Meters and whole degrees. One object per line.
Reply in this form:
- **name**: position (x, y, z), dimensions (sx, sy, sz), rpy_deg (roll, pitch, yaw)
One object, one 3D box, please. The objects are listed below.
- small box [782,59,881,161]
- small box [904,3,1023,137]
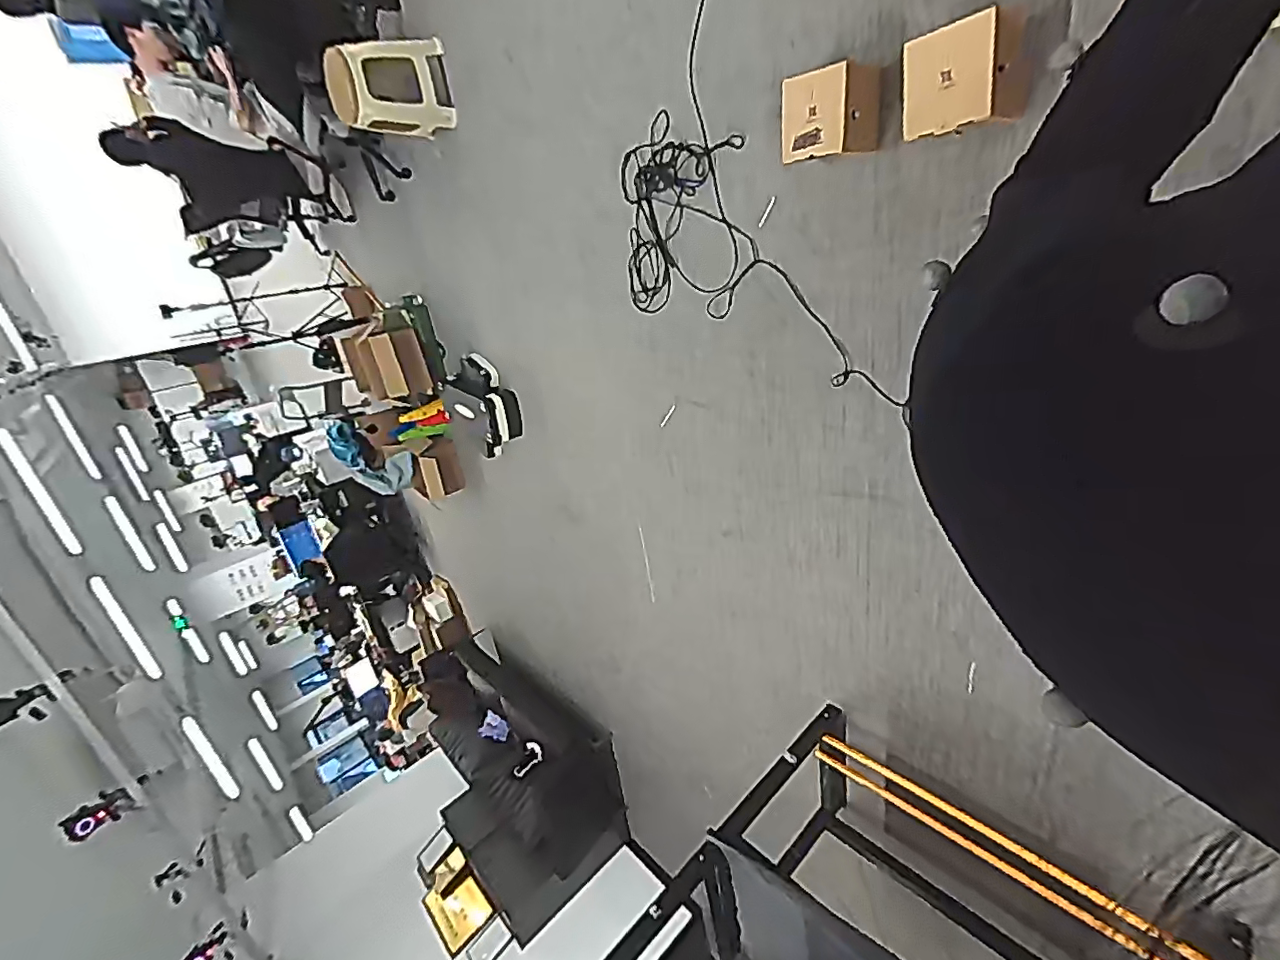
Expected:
- **small box**: position (0.463, -0.886, 1.309), dimensions (0.168, 0.176, 0.179), rpy_deg (20, 125, 44)
- **small box**: position (0.659, -0.822, 1.105), dimensions (0.168, 0.176, 0.179), rpy_deg (14, 123, 47)
